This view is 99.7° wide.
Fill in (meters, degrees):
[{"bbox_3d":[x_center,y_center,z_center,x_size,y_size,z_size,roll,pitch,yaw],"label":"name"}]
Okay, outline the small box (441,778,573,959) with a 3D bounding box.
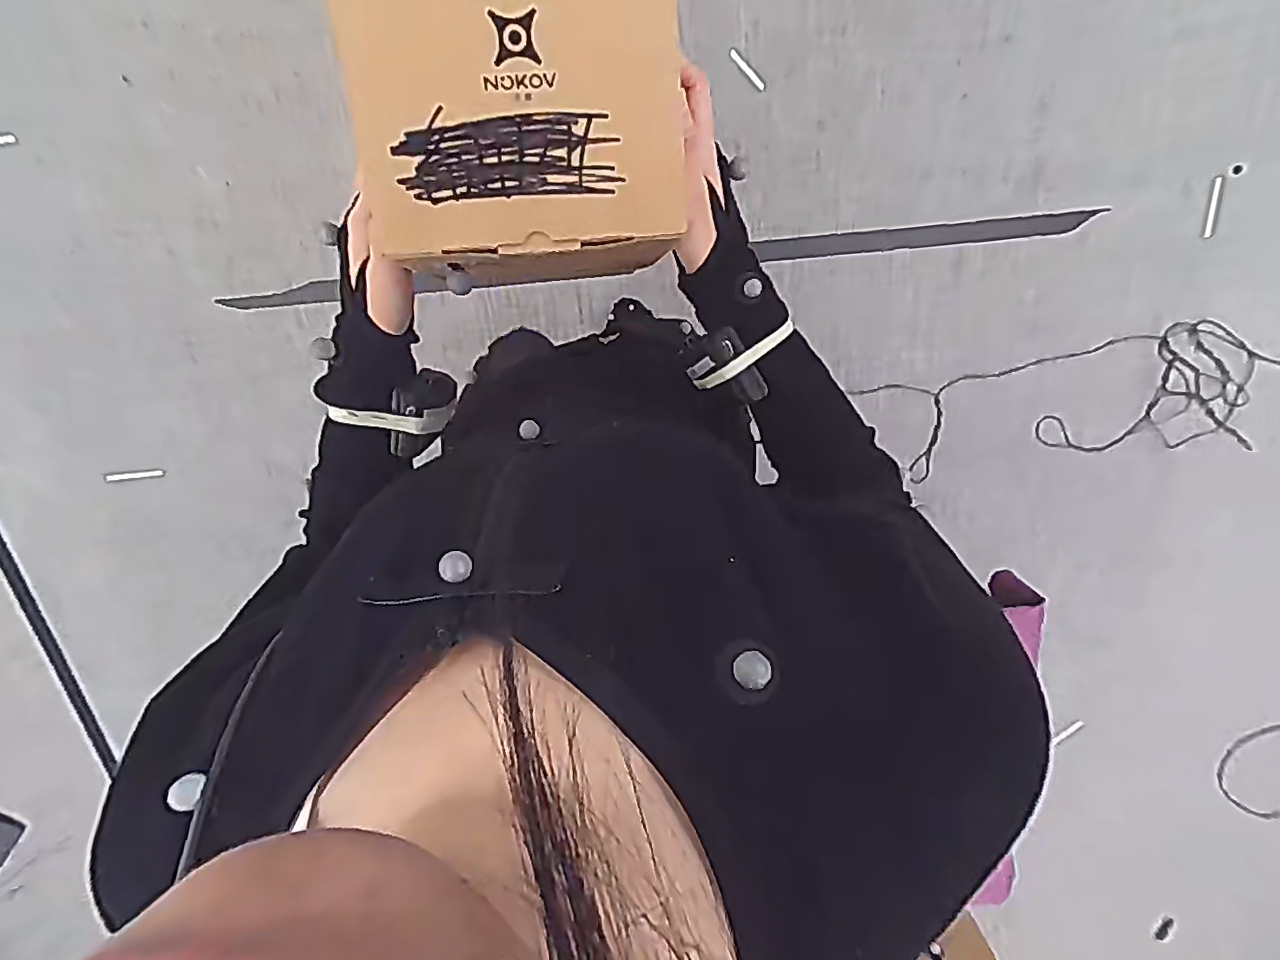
[{"bbox_3d":[-0.194,0.599,0.840,0.168,0.176,0.179,-1,107,-3],"label":"small box"}]
